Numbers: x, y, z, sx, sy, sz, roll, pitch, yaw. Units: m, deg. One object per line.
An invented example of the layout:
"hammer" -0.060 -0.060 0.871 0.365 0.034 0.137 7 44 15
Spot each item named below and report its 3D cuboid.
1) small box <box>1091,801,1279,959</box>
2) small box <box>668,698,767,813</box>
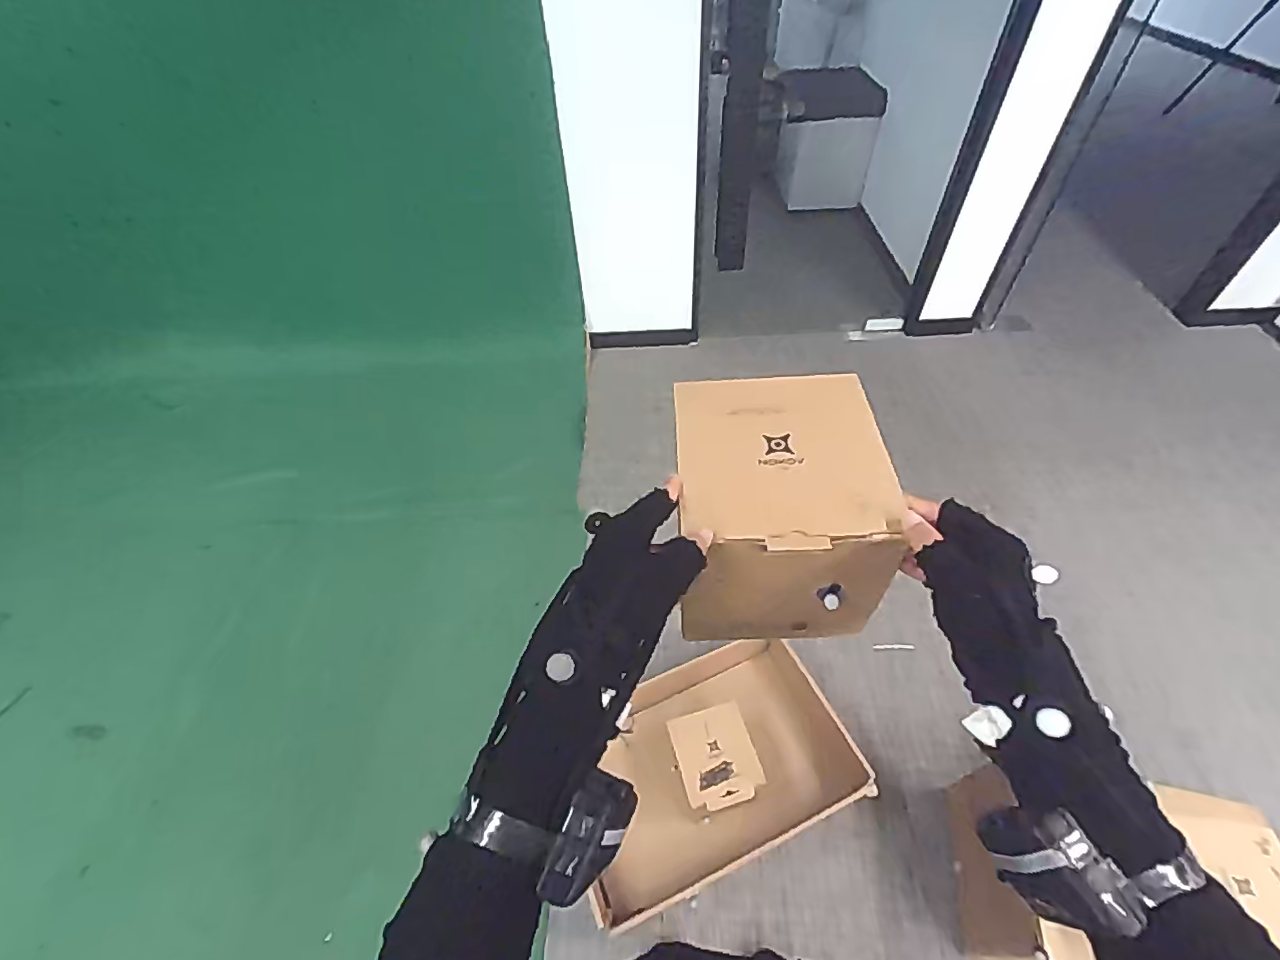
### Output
"small box" 0.840 0.610 0.825 0.179 0.176 0.168 4 51 8
"small box" 0.169 0.621 1.207 0.168 0.176 0.179 -14 48 -7
